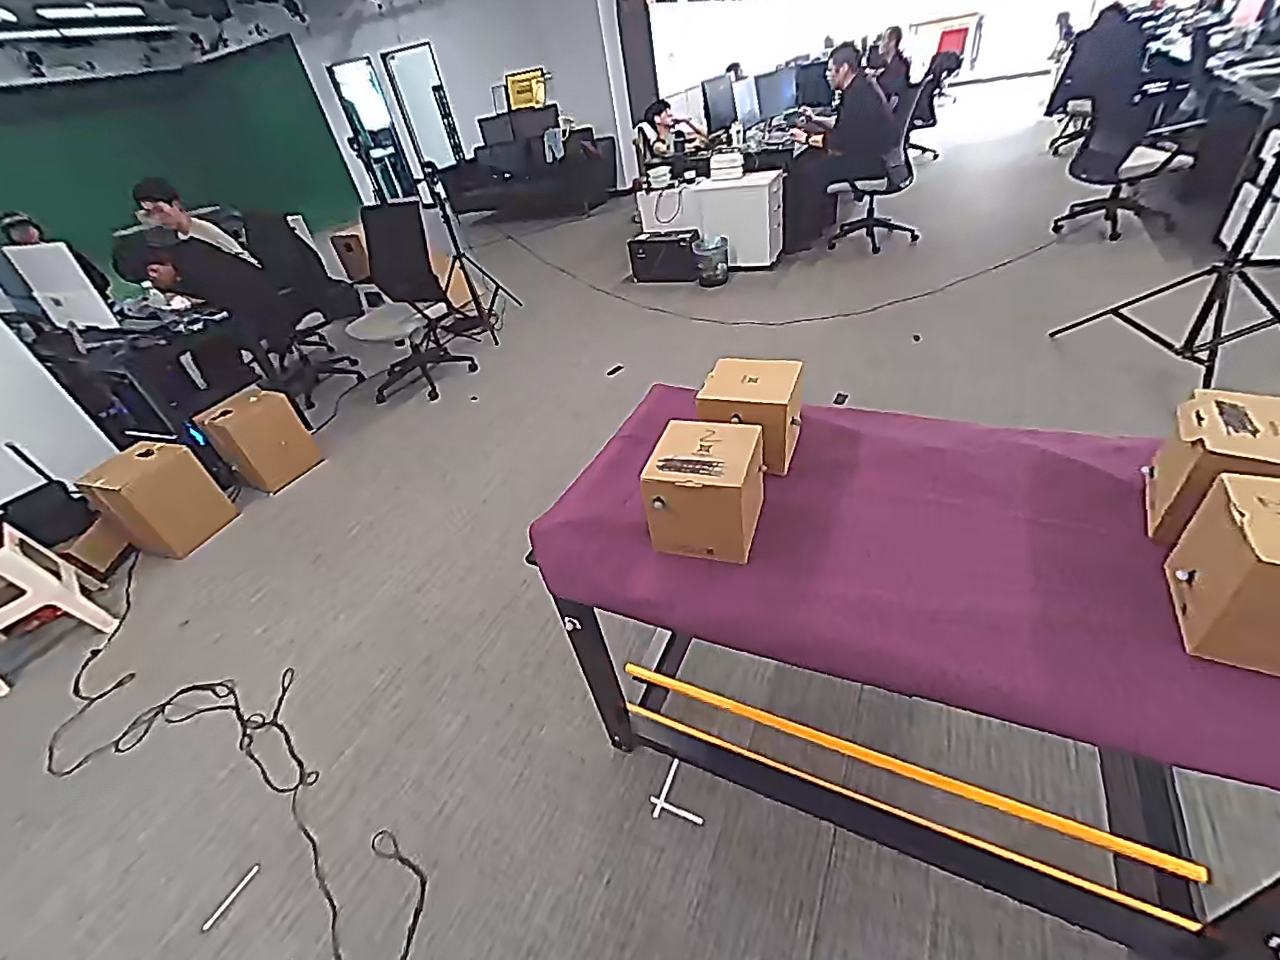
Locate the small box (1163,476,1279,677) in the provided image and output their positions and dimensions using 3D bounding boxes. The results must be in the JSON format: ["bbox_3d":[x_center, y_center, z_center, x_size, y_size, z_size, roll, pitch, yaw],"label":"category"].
[{"bbox_3d":[0.775,0.122,0.637,0.179,0.176,0.168,11,41,28],"label":"small box"}]

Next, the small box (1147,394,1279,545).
[{"bbox_3d":[0.863,0.000,0.770,0.179,0.176,0.168,16,47,29],"label":"small box"}]

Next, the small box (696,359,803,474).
[{"bbox_3d":[0.227,-0.129,1.101,0.179,0.176,0.168,8,41,23],"label":"small box"}]
